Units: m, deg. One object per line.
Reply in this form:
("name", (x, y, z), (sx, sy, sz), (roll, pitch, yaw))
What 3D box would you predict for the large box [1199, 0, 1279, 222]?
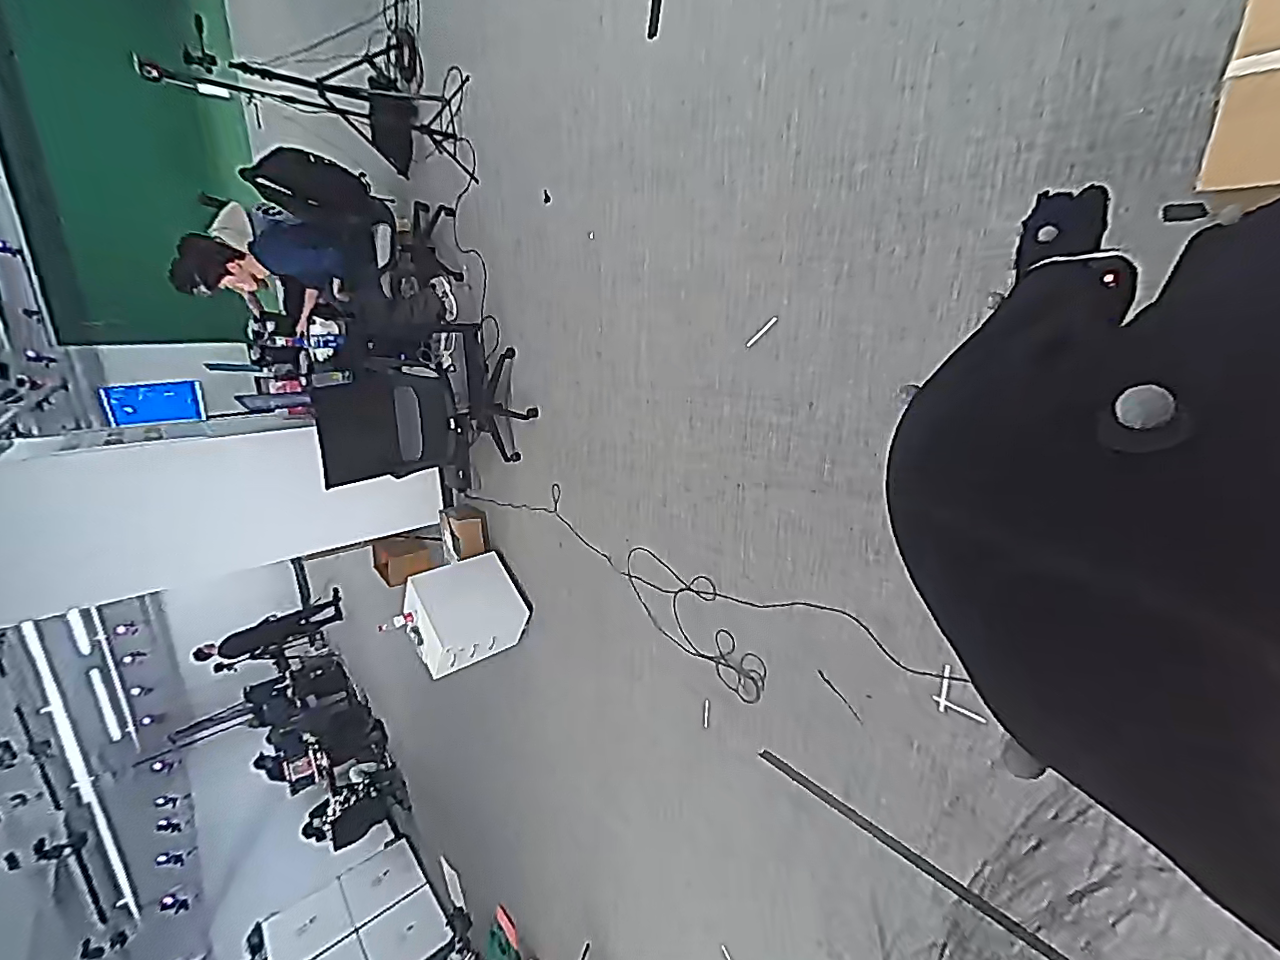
("large box", (1.075, -0.553, 0.722), (0.408, 0.320, 0.320), (19, 115, 44))
